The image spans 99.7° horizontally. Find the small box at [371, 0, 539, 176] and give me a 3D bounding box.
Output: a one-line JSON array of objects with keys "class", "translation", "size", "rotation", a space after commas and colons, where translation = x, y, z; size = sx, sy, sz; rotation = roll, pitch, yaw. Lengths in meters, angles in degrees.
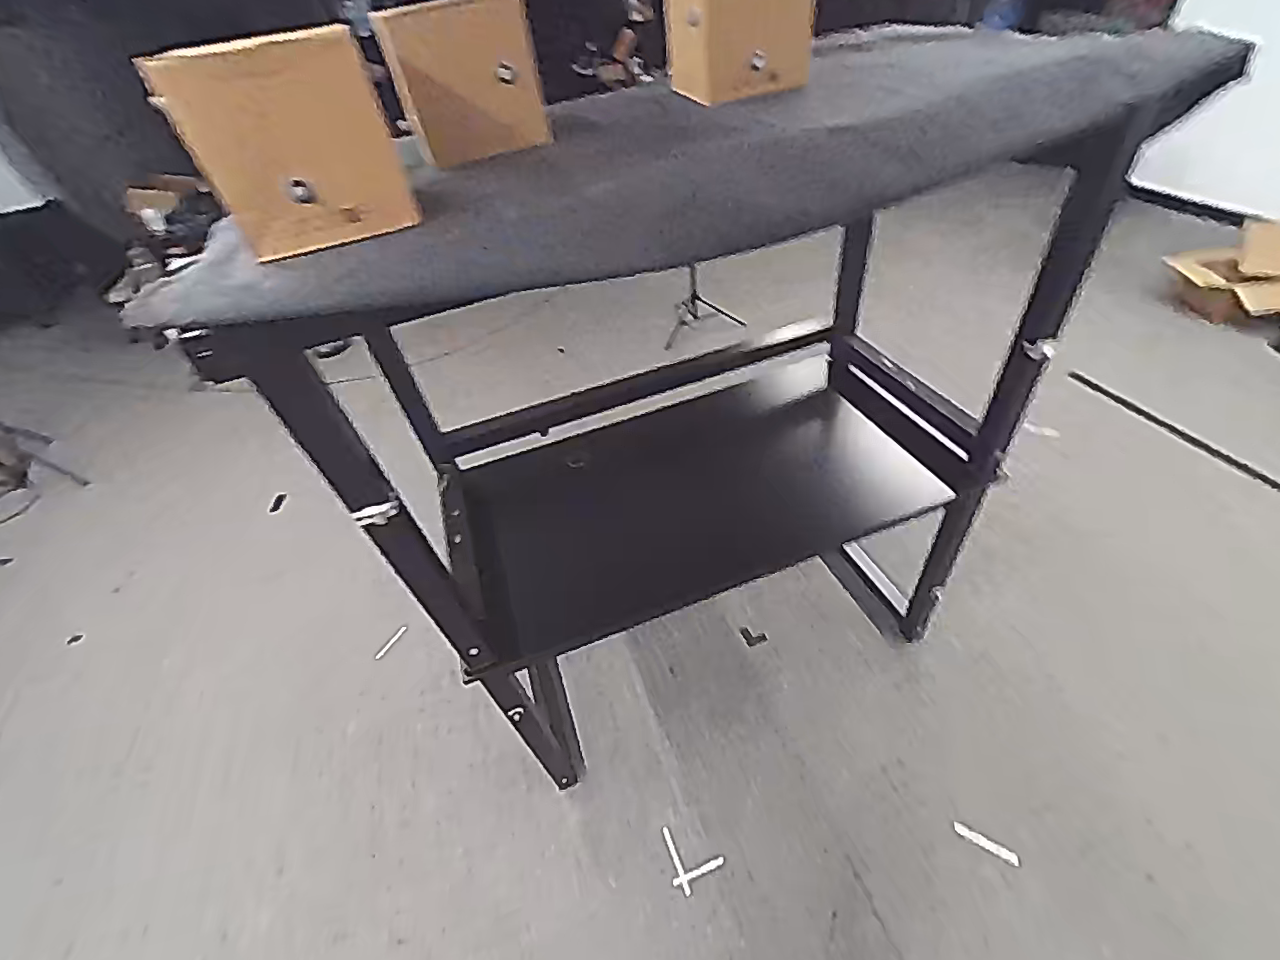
[{"class": "small box", "translation": [-0.253, -0.554, 0.762], "size": [0.179, 0.176, 0.168], "rotation": [-21, 45, -12]}]

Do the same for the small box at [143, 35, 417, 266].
[{"class": "small box", "translation": [-0.352, -0.347, 0.568], "size": [0.168, 0.176, 0.179], "rotation": [-21, 44, -12]}]
